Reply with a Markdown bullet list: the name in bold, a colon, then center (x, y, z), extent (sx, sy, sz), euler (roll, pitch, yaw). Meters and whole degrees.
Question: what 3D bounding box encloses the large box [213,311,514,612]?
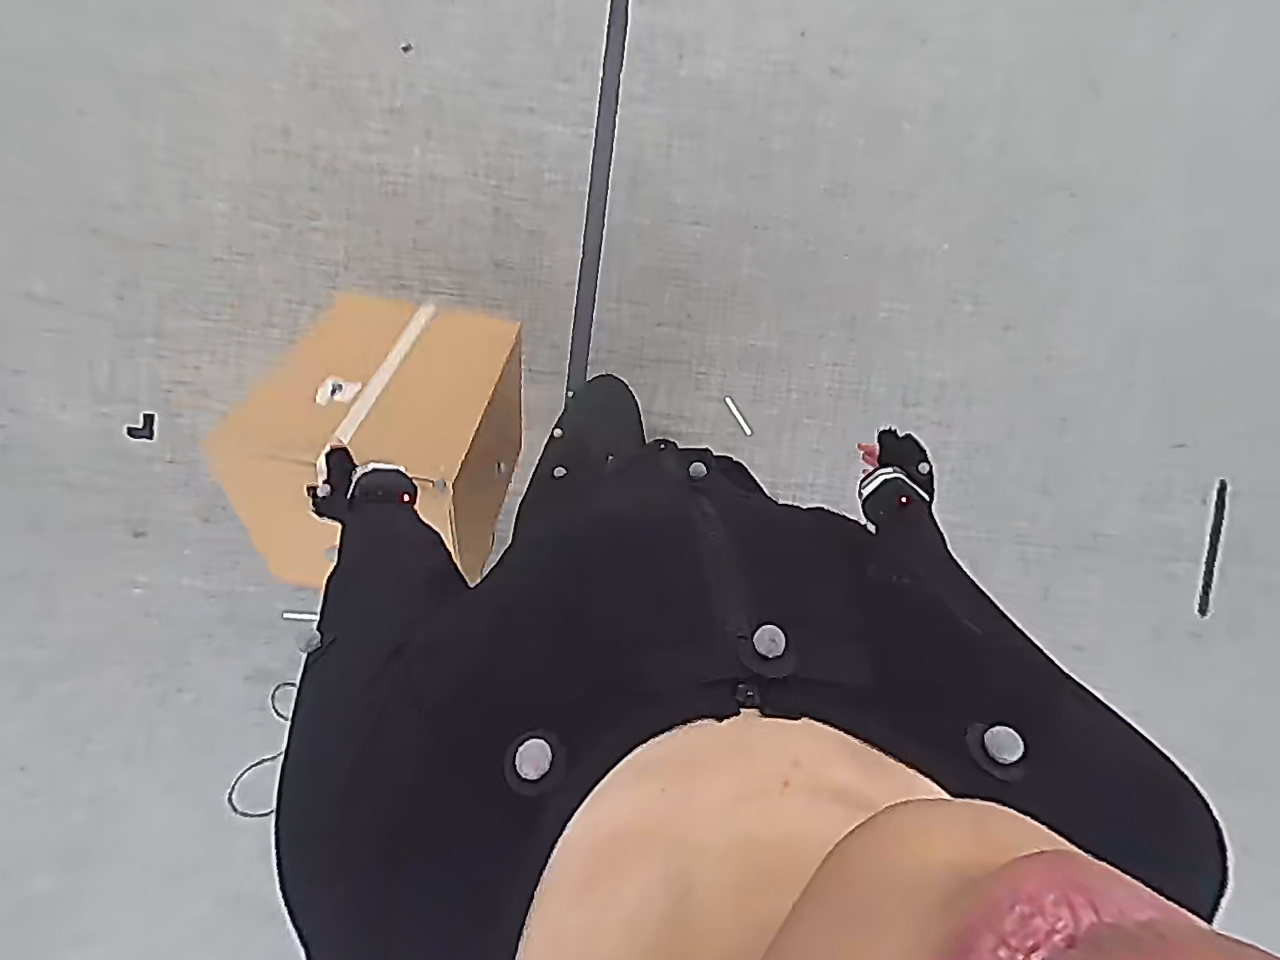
- **large box**: center (-0.409, -0.038, 0.938), extent (0.320, 0.408, 0.320), euler (8, 134, -3)
